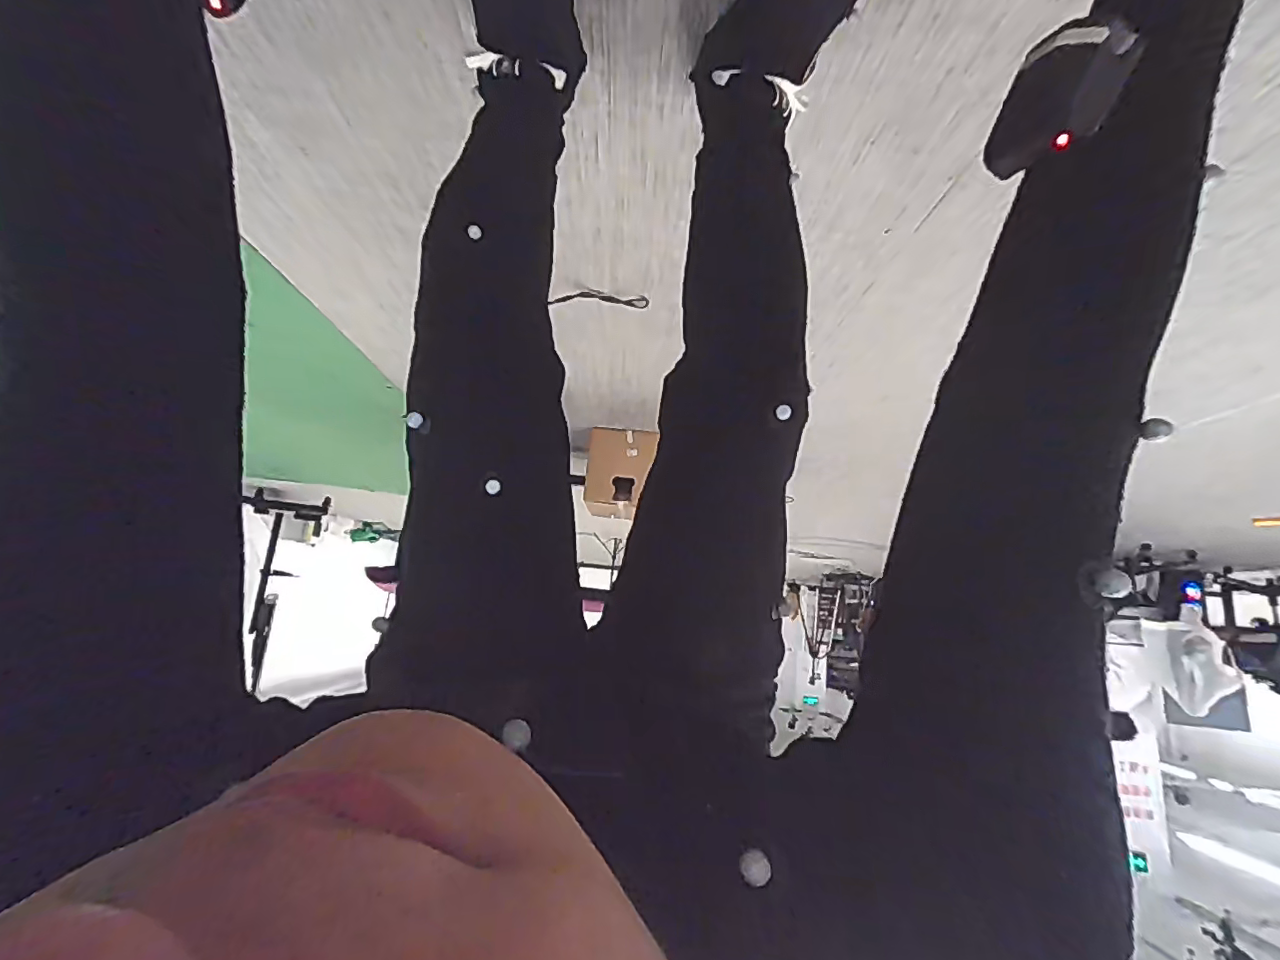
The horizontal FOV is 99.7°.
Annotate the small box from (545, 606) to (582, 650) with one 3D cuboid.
[{"bbox_3d":[-0.358,0.663,2.438,0.168,0.176,0.179,6,166,-1],"label":"small box"}]

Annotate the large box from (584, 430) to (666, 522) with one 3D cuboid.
[{"bbox_3d":[-0.051,-0.007,2.352,0.320,0.320,0.408,6,168,2],"label":"large box"}]
